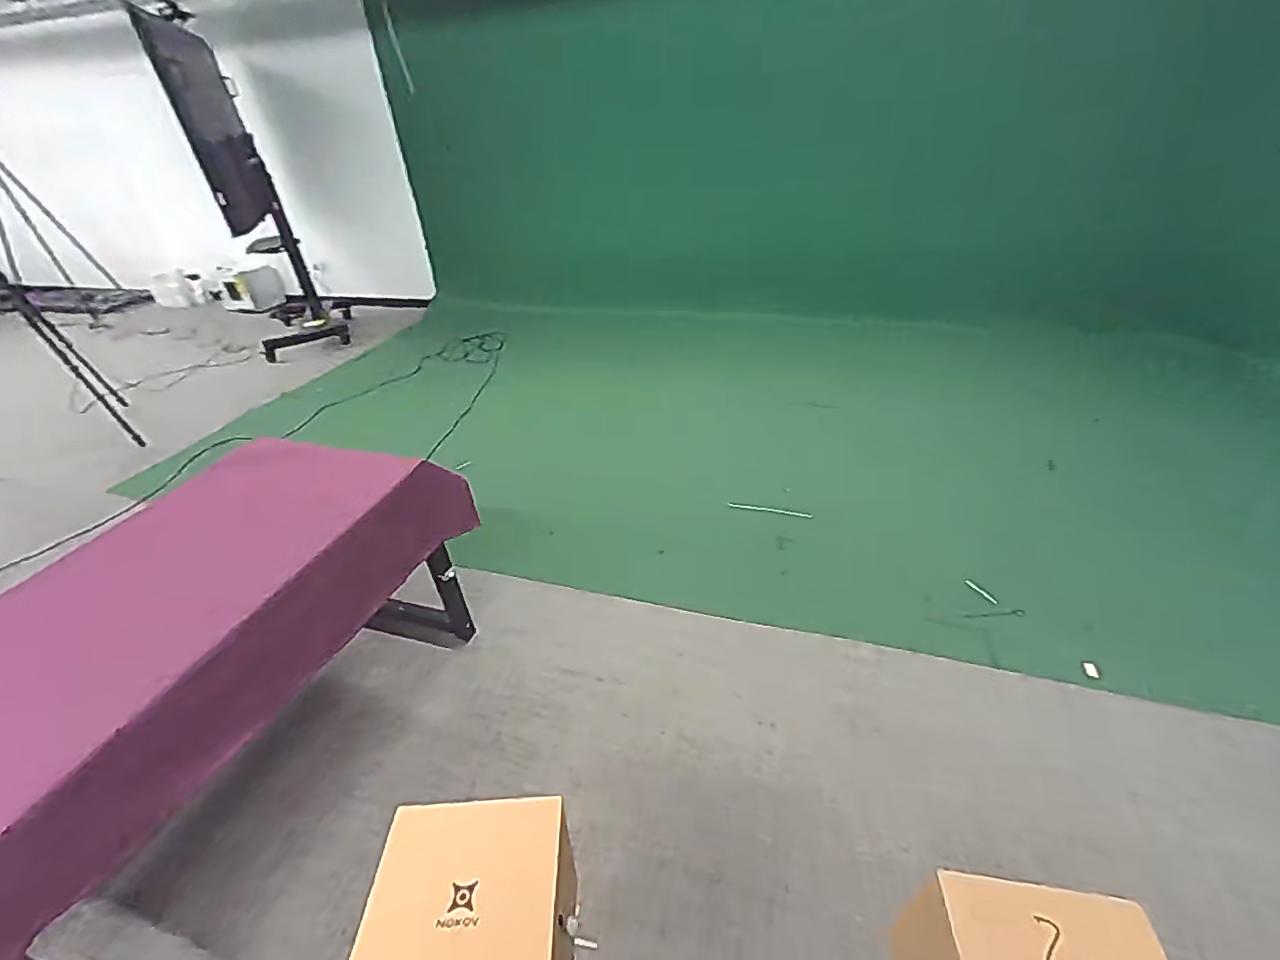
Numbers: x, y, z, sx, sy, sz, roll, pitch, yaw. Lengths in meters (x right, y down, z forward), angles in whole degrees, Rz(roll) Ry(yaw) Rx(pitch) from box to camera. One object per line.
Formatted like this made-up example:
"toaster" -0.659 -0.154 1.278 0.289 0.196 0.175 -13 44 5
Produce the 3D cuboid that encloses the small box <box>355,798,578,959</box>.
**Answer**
"small box" -0.148 0.434 0.507 0.168 0.176 0.179 -3 32 -2
